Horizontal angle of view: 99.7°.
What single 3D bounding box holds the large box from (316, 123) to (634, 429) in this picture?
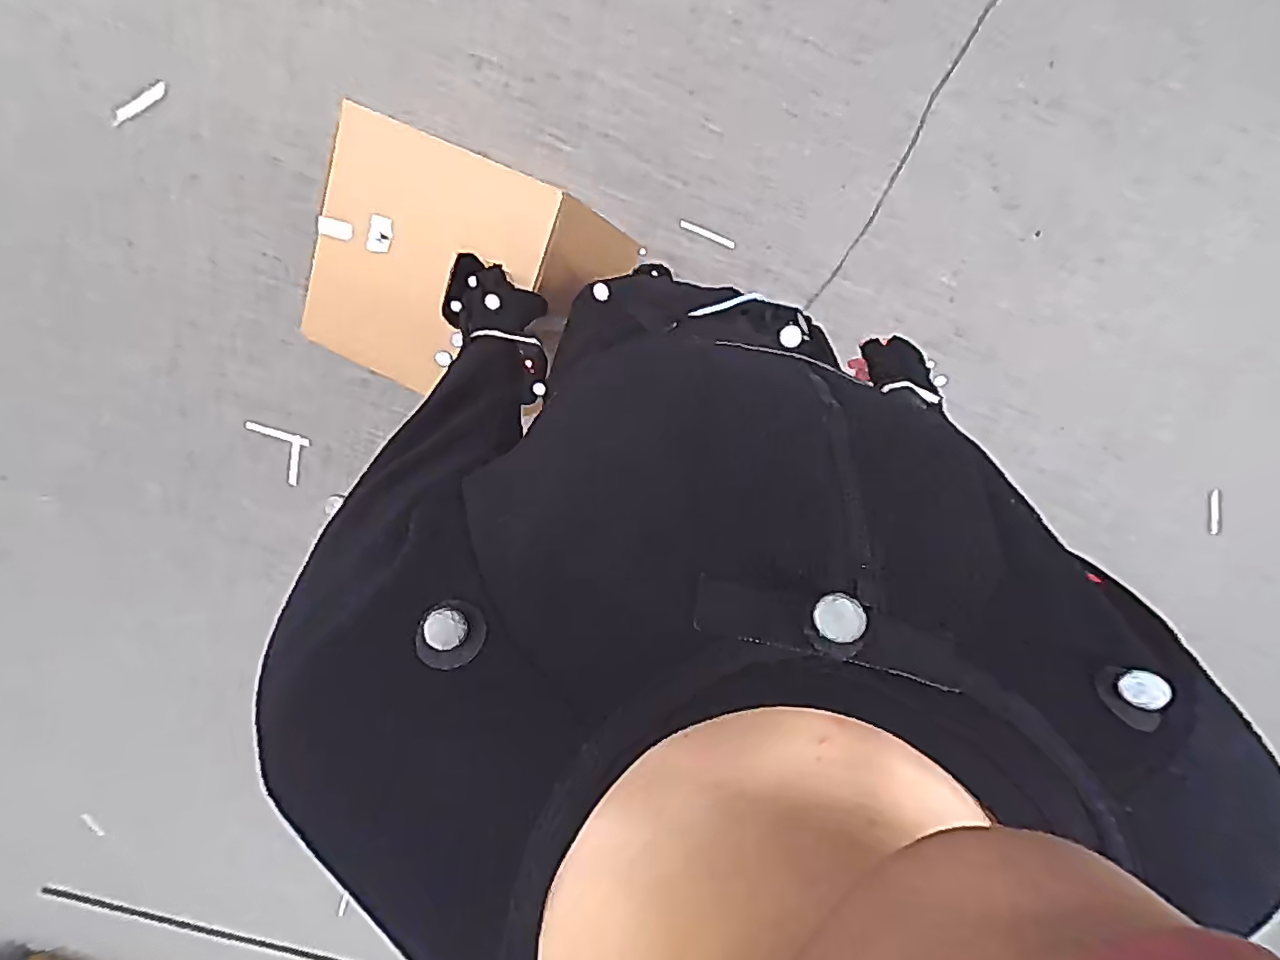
[{"bbox_3d":[-0.243,-0.317,0.898,0.320,0.408,0.320,26,110,4],"label":"large box"}]
